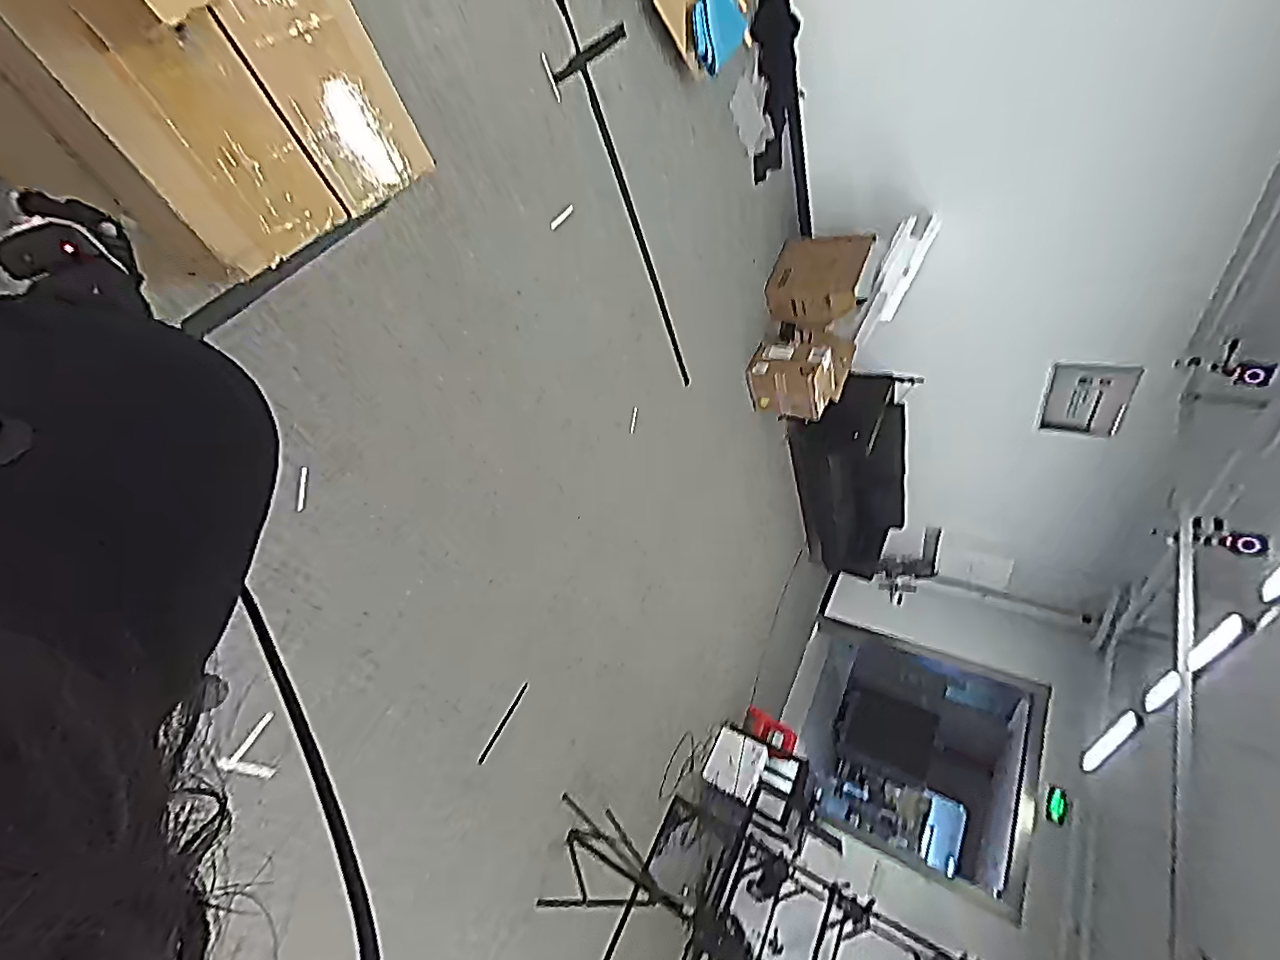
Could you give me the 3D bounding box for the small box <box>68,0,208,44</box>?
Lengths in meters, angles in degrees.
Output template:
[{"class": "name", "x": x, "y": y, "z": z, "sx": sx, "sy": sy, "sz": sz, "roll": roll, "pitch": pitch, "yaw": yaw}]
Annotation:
[{"class": "small box", "x": -0.536, "y": -0.593, "z": 0.550, "sx": 0.168, "sy": 0.176, "sz": 0.179, "roll": -58, "pitch": 145, "yaw": -23}]
